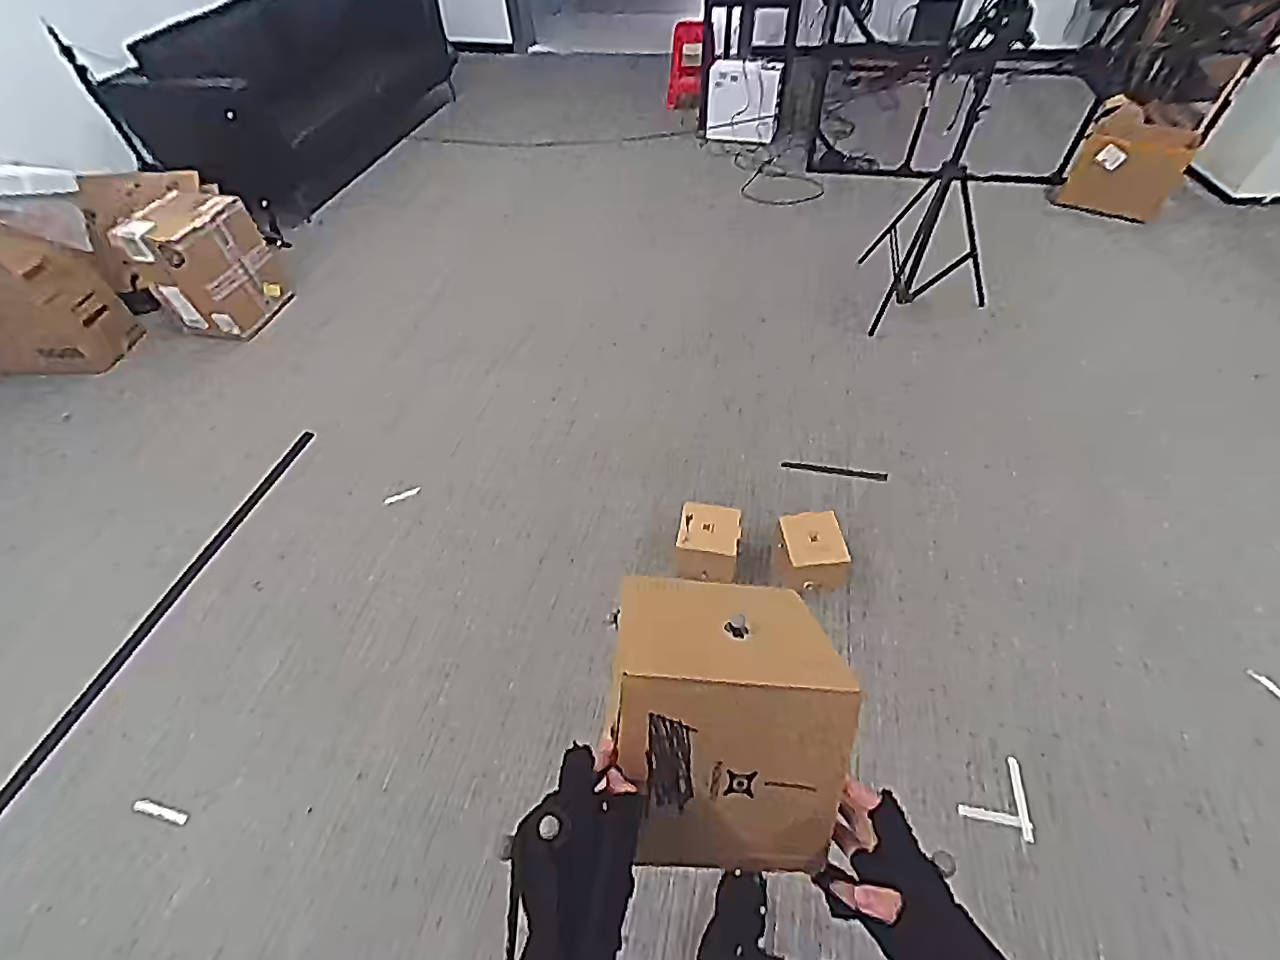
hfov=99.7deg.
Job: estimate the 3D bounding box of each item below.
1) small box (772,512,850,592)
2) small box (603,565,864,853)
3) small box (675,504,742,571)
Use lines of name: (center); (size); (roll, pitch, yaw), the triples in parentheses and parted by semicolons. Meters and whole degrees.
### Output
small box: (0.501, 0.218, 1.613); (0.168, 0.176, 0.179); (-6, 52, 0)
small box: (0.064, 0.184, 0.477); (0.179, 0.168, 0.176); (5, 14, -4)
small box: (0.206, 0.197, 1.648); (0.179, 0.176, 0.168); (8, 52, 10)
